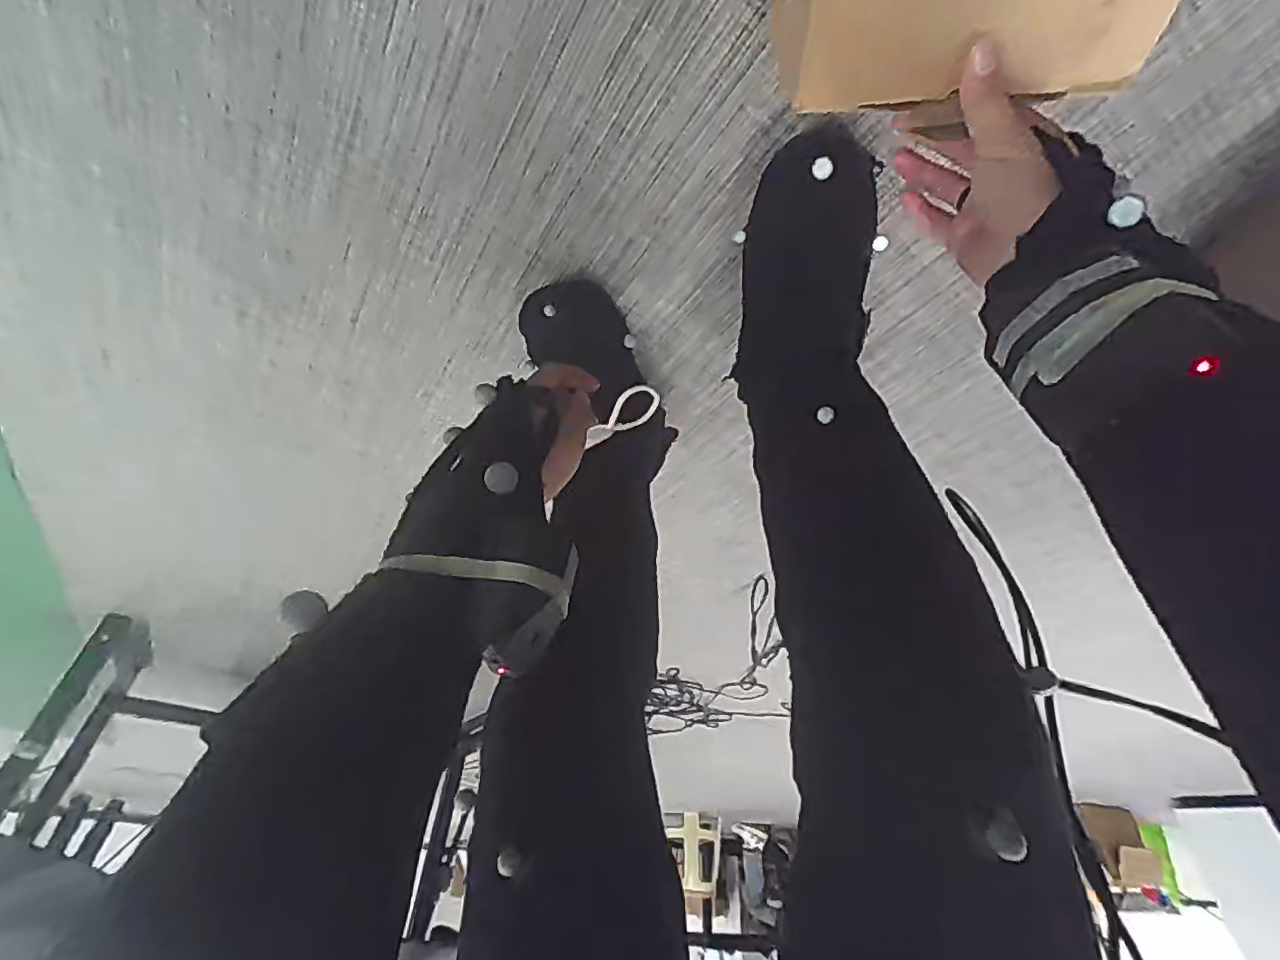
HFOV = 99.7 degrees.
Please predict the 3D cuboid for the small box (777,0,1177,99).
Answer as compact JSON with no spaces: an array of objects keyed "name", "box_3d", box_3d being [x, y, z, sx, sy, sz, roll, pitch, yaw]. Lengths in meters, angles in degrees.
[{"name":"small box","box_3d":[0.162,-0.314,0.256,0.168,0.176,0.179,0,141,5]}]
